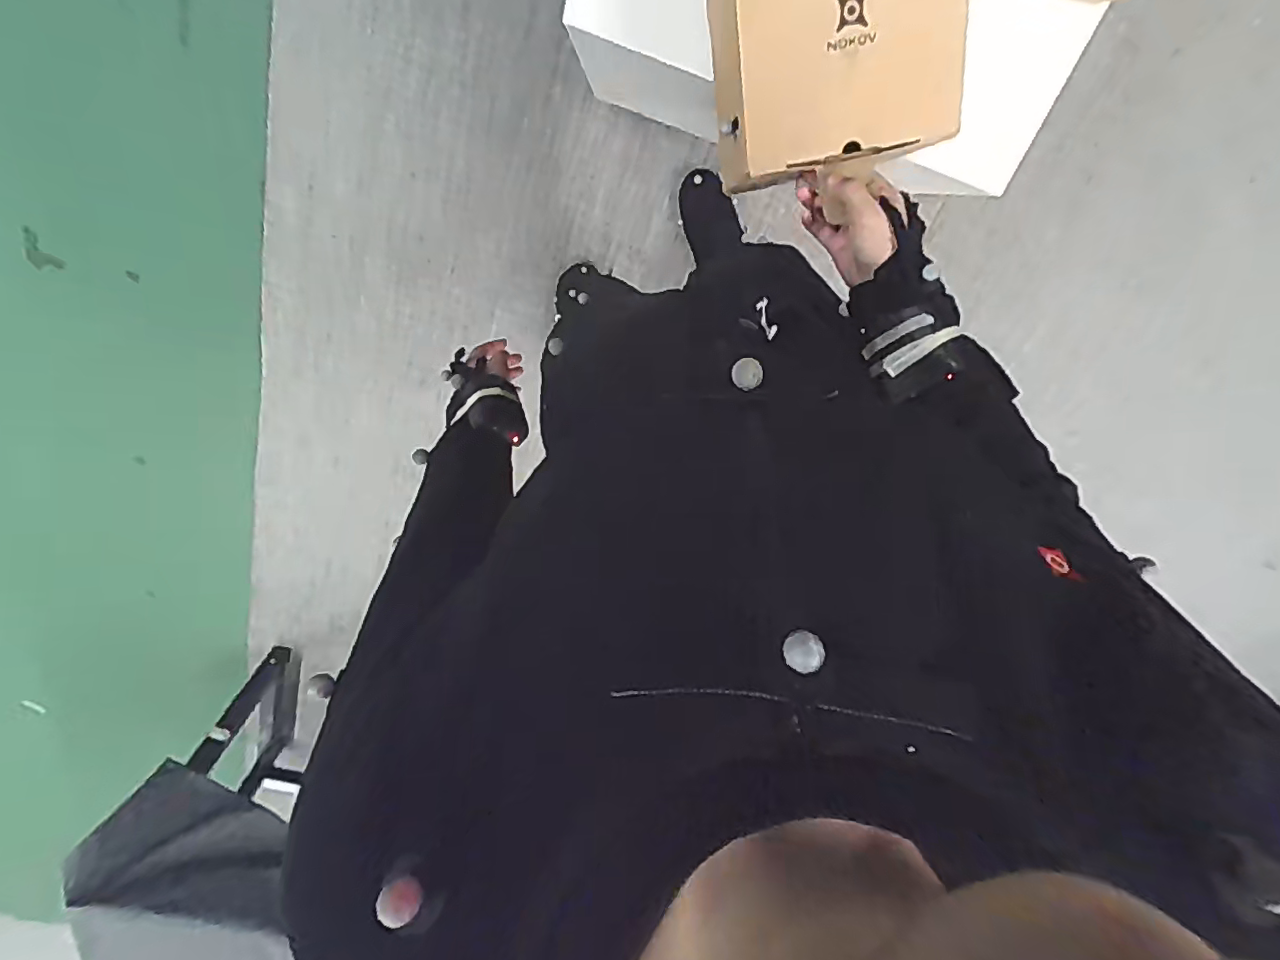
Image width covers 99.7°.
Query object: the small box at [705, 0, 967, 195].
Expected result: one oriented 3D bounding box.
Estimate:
[{"bbox_3d":[0.152,-0.361,0.462,0.168,0.176,0.179,-9,113,5],"label":"small box"}]
